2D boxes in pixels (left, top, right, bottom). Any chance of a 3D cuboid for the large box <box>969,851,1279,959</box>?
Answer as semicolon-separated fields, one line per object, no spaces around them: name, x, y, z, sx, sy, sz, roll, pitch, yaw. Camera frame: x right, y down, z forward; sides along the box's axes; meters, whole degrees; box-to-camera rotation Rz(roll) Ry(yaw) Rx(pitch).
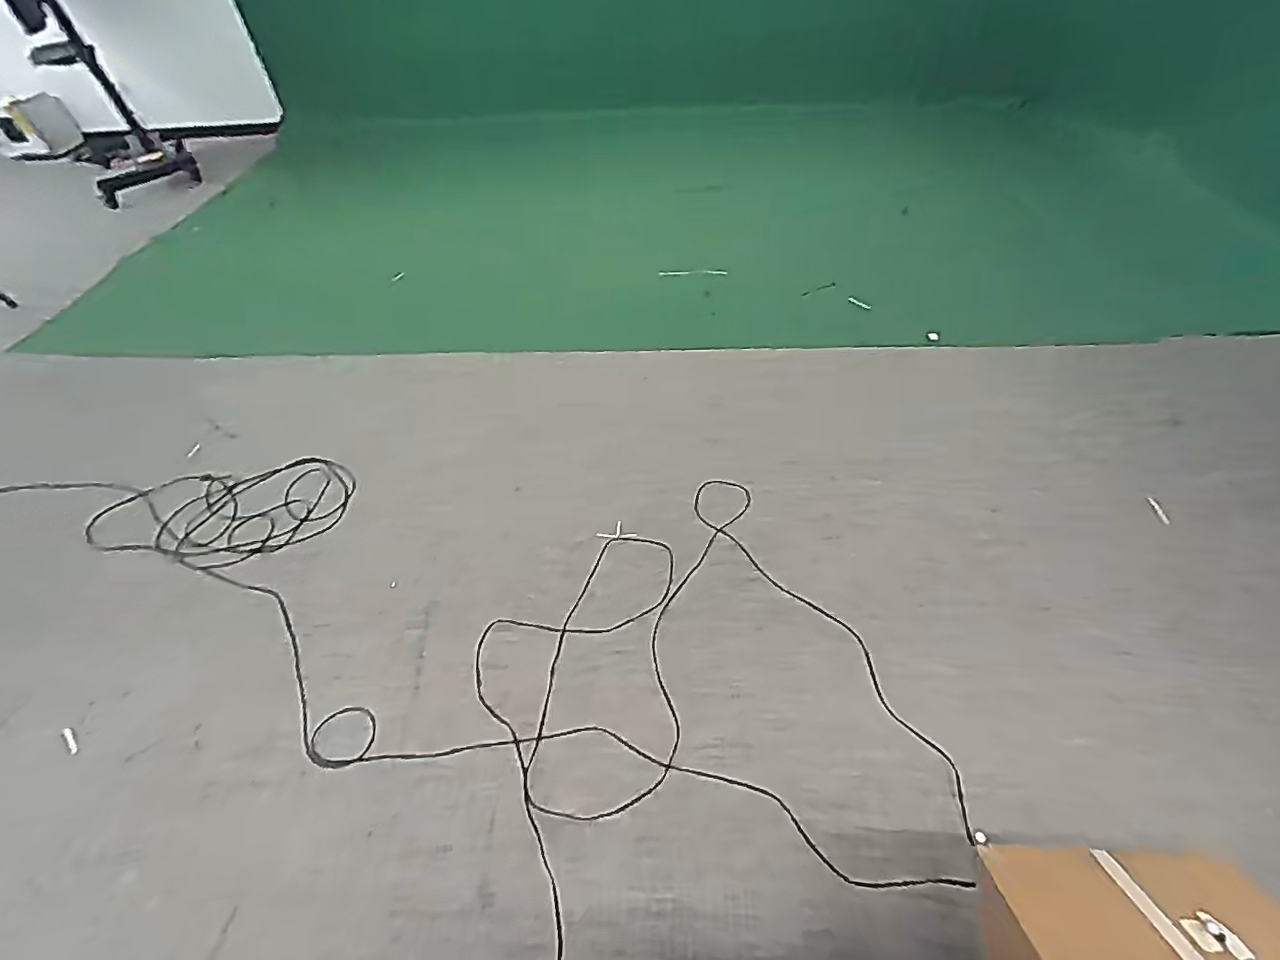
large box;0.616;0.704;0.588;0.320;0.408;0.320;-2;92;10
